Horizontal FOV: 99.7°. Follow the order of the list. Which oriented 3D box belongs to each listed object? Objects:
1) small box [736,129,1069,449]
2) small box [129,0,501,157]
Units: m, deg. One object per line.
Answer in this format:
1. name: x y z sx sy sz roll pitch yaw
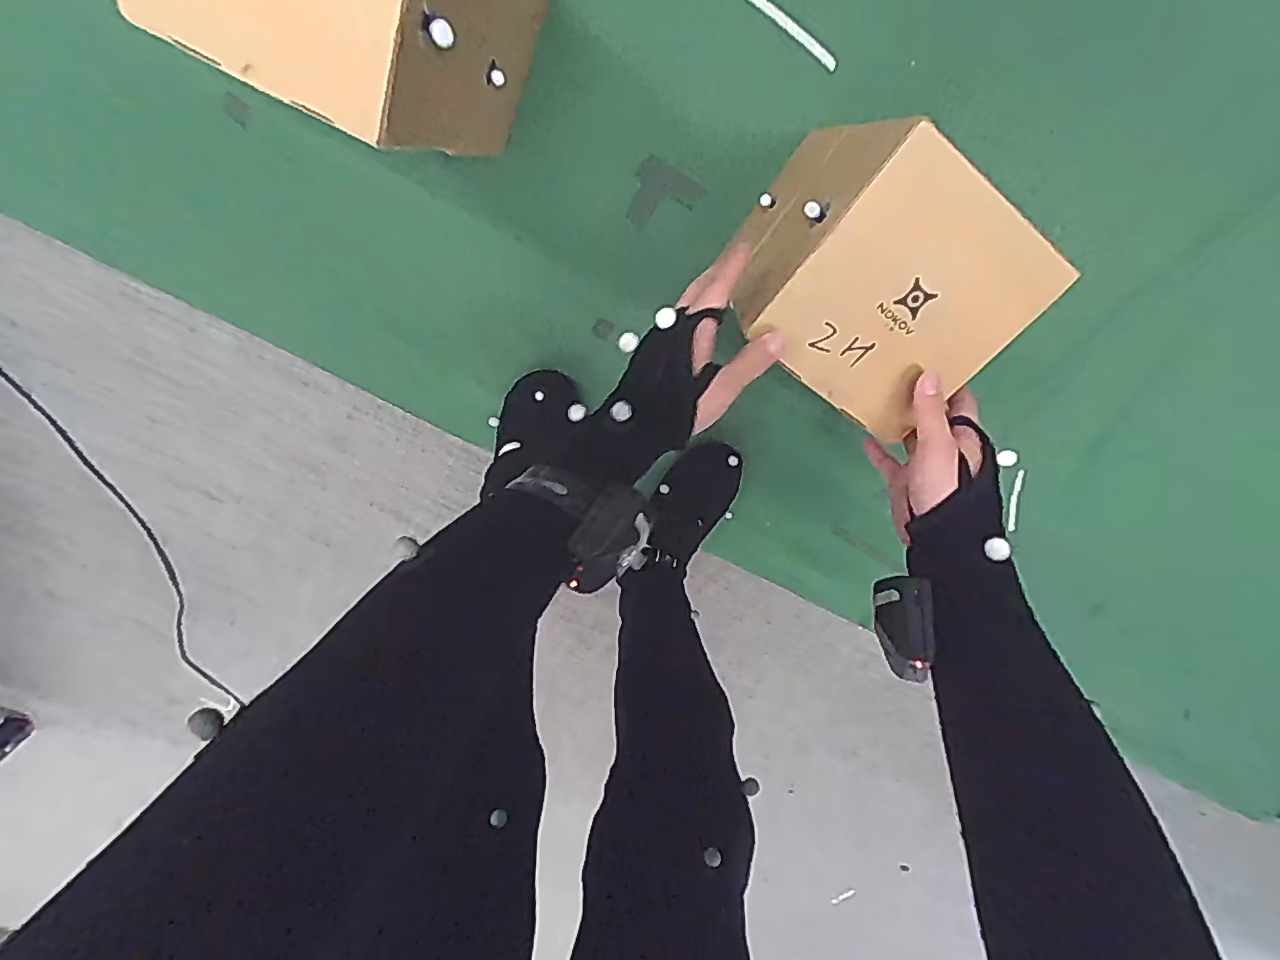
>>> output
1. small box: 0.199 -0.167 0.472 0.168 0.176 0.179 33 118 -14
2. small box: -0.209 -0.363 0.386 0.168 0.176 0.179 24 120 -11
